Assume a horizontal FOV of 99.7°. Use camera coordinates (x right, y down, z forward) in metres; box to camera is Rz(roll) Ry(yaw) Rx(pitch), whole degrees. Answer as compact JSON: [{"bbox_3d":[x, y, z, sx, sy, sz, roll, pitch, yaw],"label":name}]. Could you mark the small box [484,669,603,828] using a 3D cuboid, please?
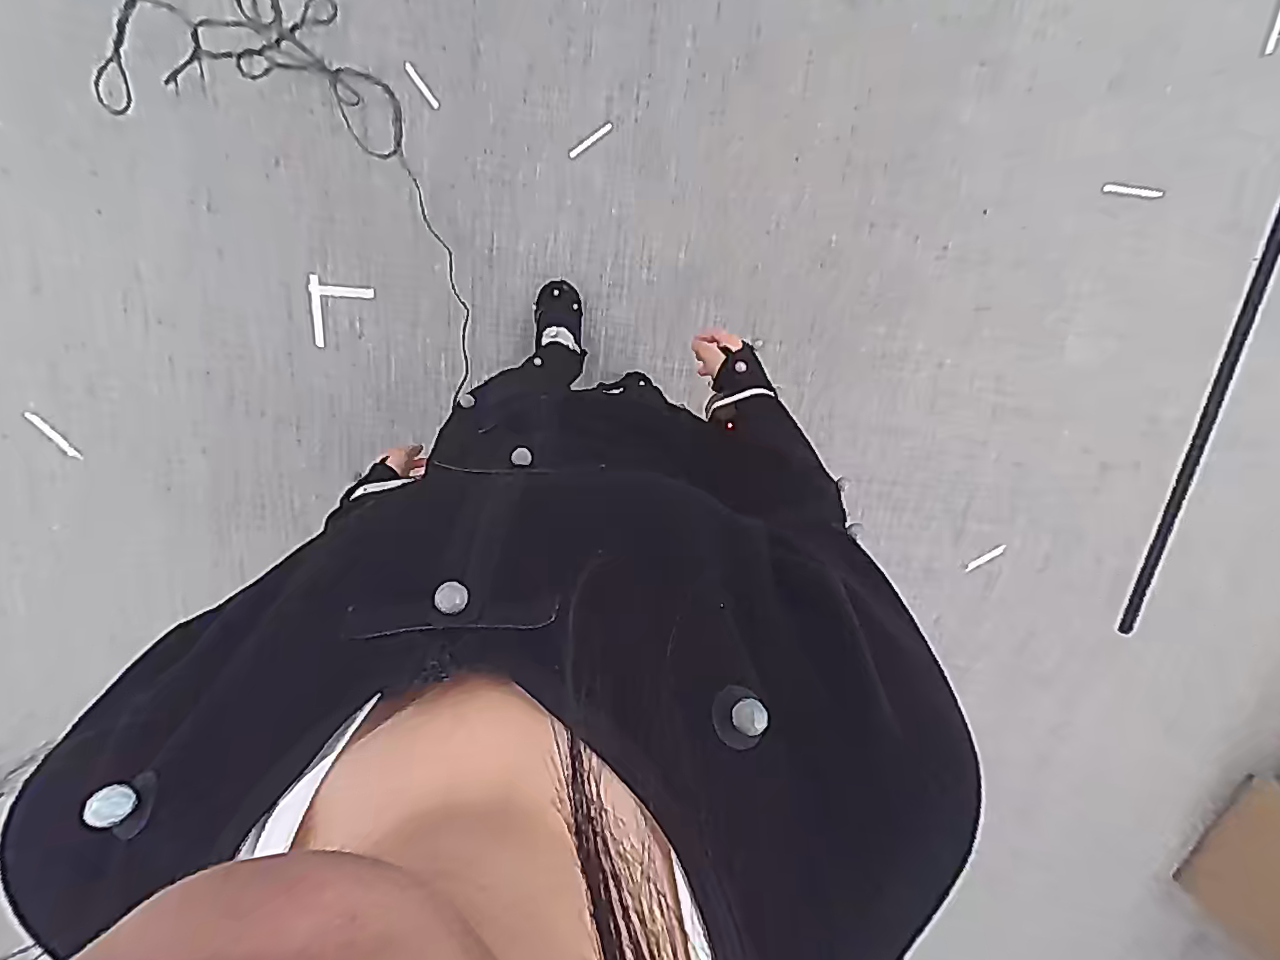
[{"bbox_3d":[-0.160,0.453,0.933,0.168,0.176,0.179,10,105,-5],"label":"small box"}]
